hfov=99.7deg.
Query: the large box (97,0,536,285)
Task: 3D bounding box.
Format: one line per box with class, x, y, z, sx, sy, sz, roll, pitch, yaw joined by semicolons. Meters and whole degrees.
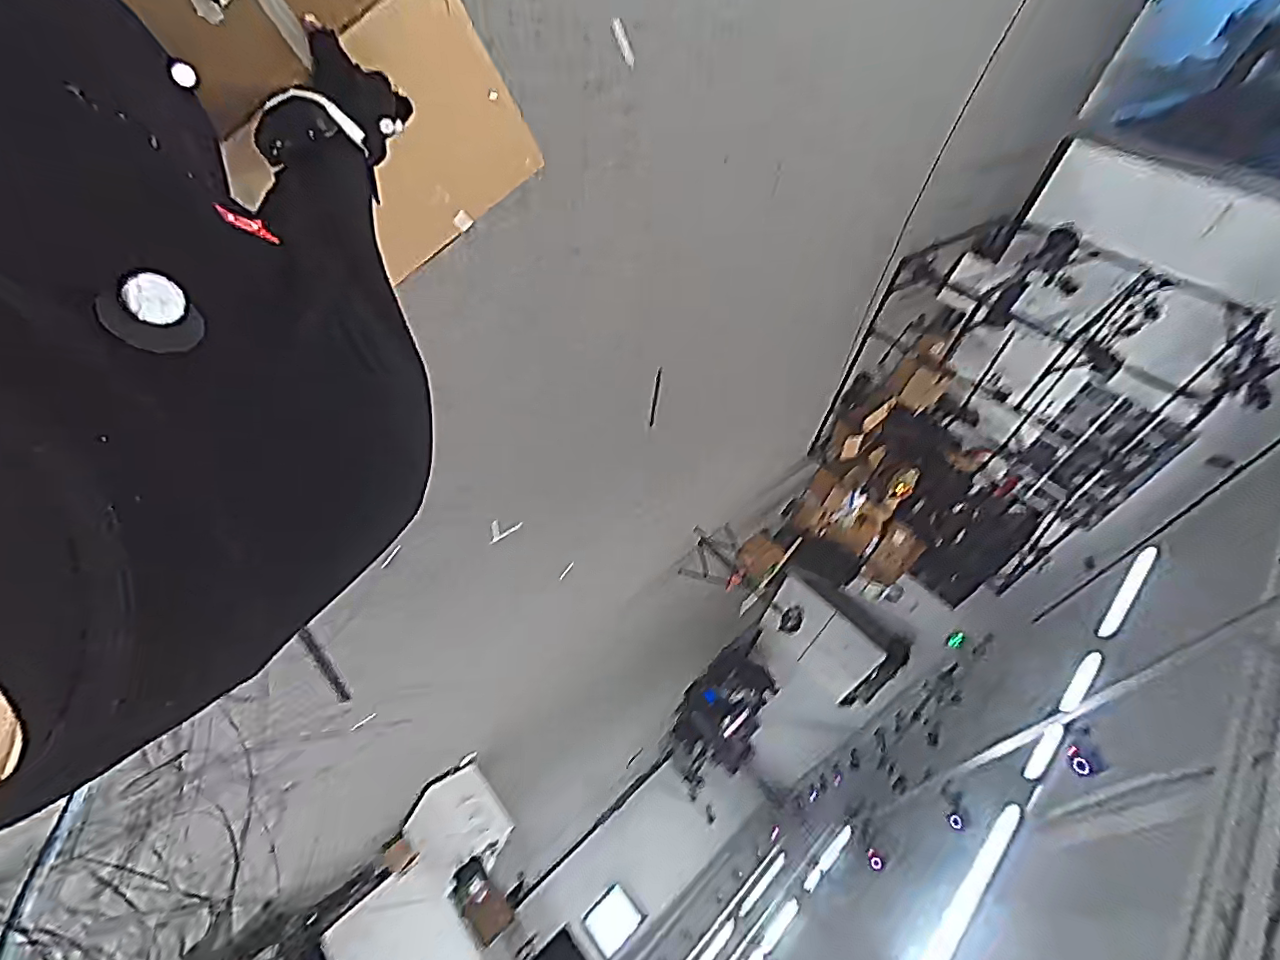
large box;-0.410;-0.555;0.716;0.320;0.408;0.320;-37;172;7
